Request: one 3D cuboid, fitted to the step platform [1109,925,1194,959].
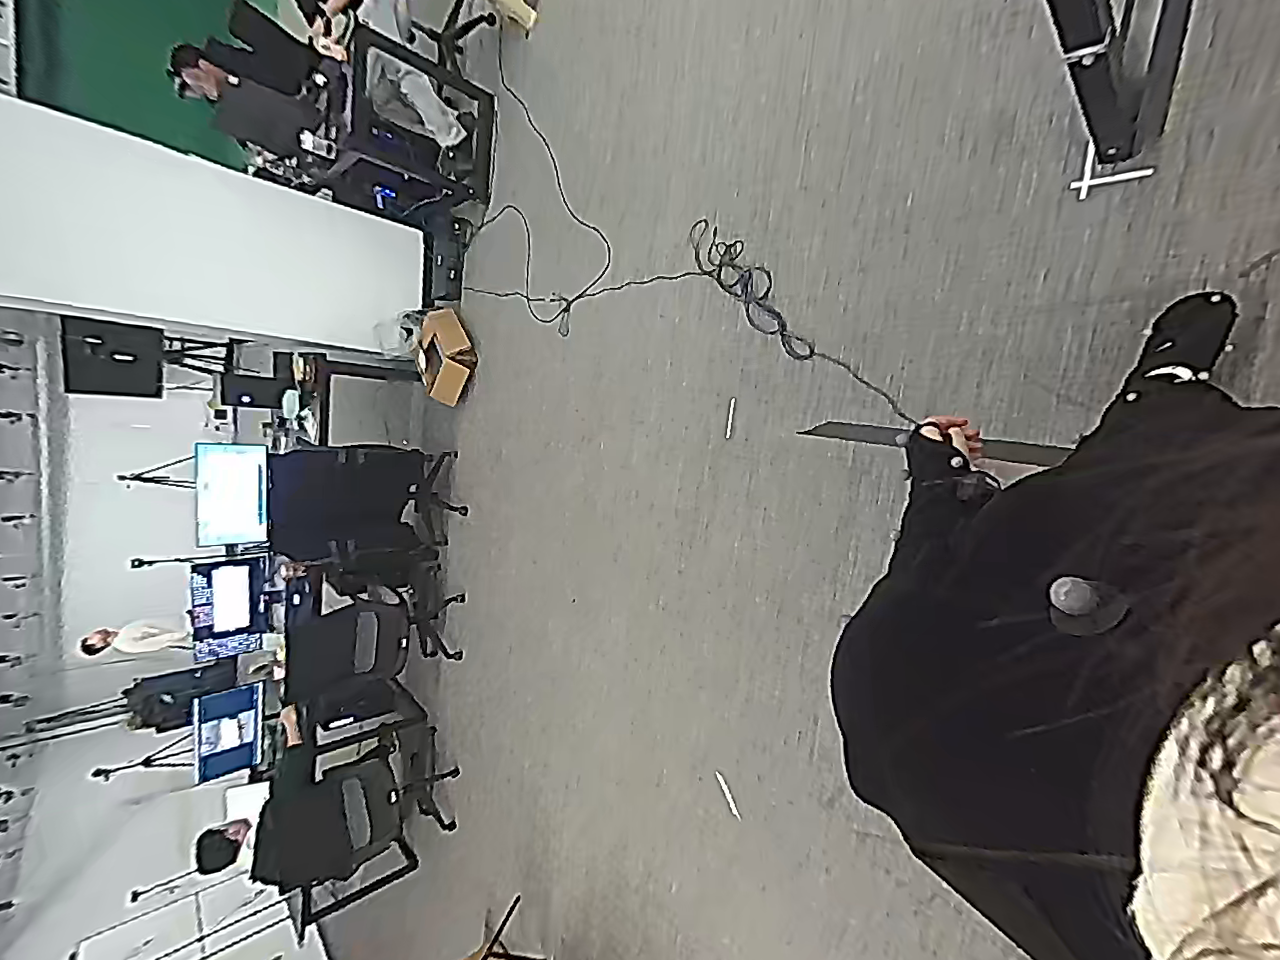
[{"bbox_3d":[1.161,1.130,0.858,0.684,0.204,0.286,22,106,43],"label":"step platform"}]
